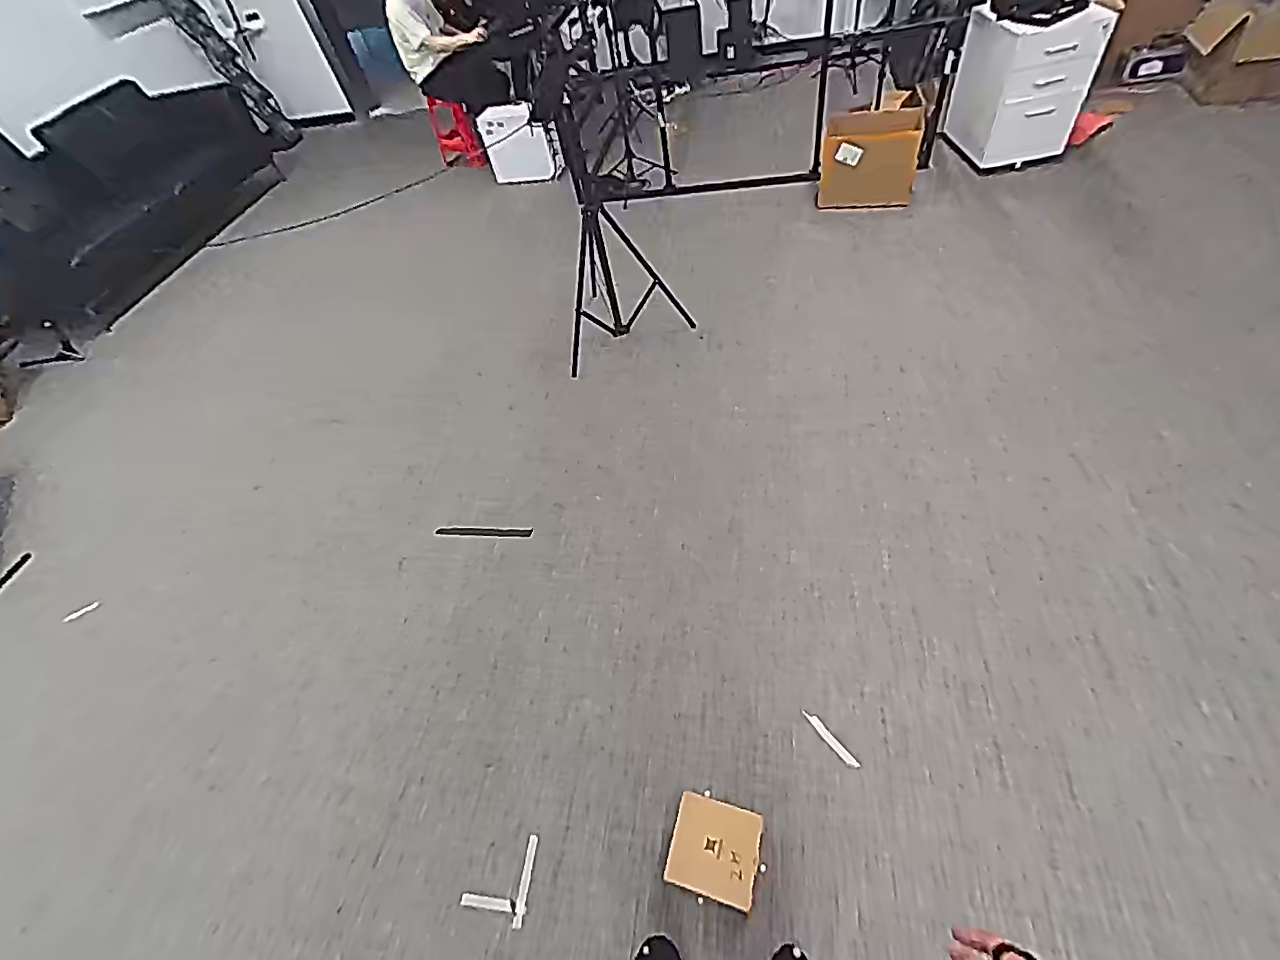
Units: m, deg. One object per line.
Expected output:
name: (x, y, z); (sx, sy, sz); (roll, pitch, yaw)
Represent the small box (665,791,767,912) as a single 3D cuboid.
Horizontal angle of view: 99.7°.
small box: (0.169, 0.791, 1.150); (0.179, 0.176, 0.168); (9, 55, 19)
